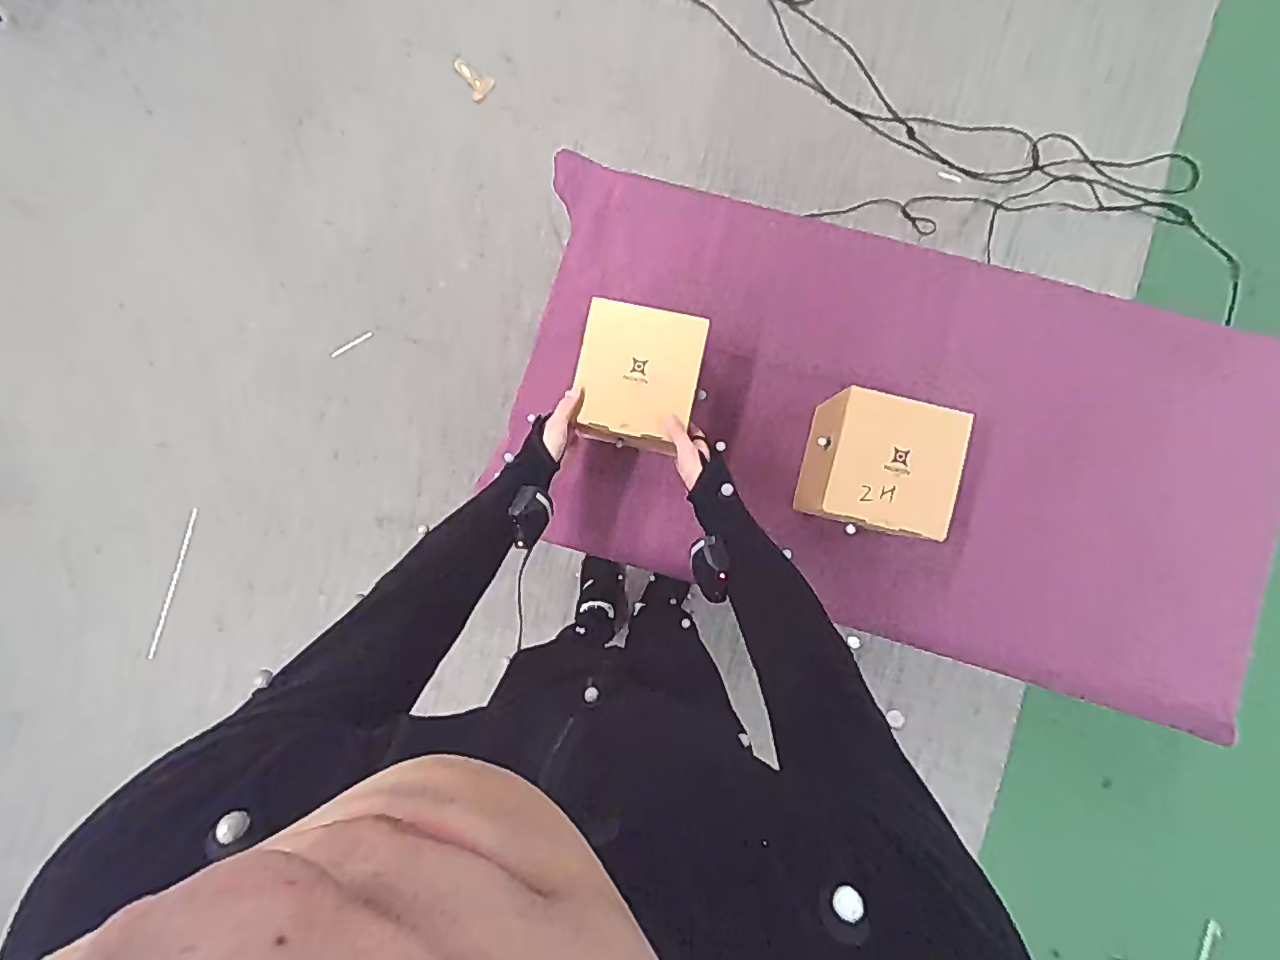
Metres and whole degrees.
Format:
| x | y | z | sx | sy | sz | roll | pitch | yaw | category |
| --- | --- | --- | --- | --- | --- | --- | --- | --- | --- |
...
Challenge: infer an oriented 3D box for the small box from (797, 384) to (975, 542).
| x | y | z | sx | sy | sz | roll | pitch | yaw | category |
| --- | --- | --- | --- | --- | --- | --- | --- | --- | --- |
| 0.341 | -0.019 | 0.783 | 0.168 | 0.176 | 0.179 | 14 | 88 | 3 | small box |

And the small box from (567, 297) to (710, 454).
| x | y | z | sx | sy | sz | roll | pitch | yaw | category |
| --- | --- | --- | --- | --- | --- | --- | --- | --- | --- |
| -0.001 | -0.143 | 0.804 | 0.168 | 0.176 | 0.179 | 12 | 89 | 2 | small box |
